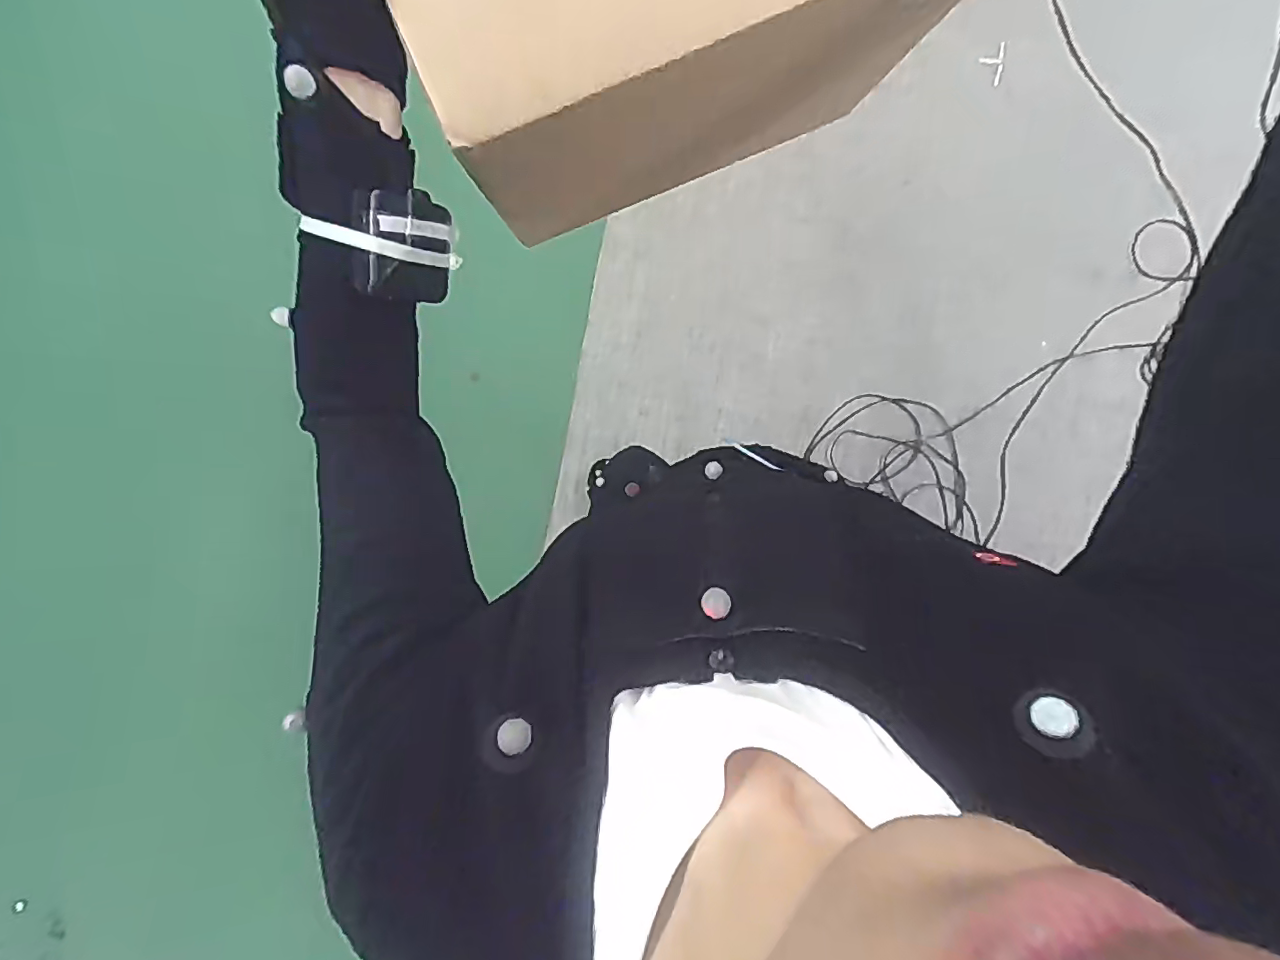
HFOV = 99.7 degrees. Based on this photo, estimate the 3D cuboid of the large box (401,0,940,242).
[{"bbox_3d":[0.003,-0.453,0.447,0.408,0.320,0.320,-22,103,0],"label":"large box"}]
